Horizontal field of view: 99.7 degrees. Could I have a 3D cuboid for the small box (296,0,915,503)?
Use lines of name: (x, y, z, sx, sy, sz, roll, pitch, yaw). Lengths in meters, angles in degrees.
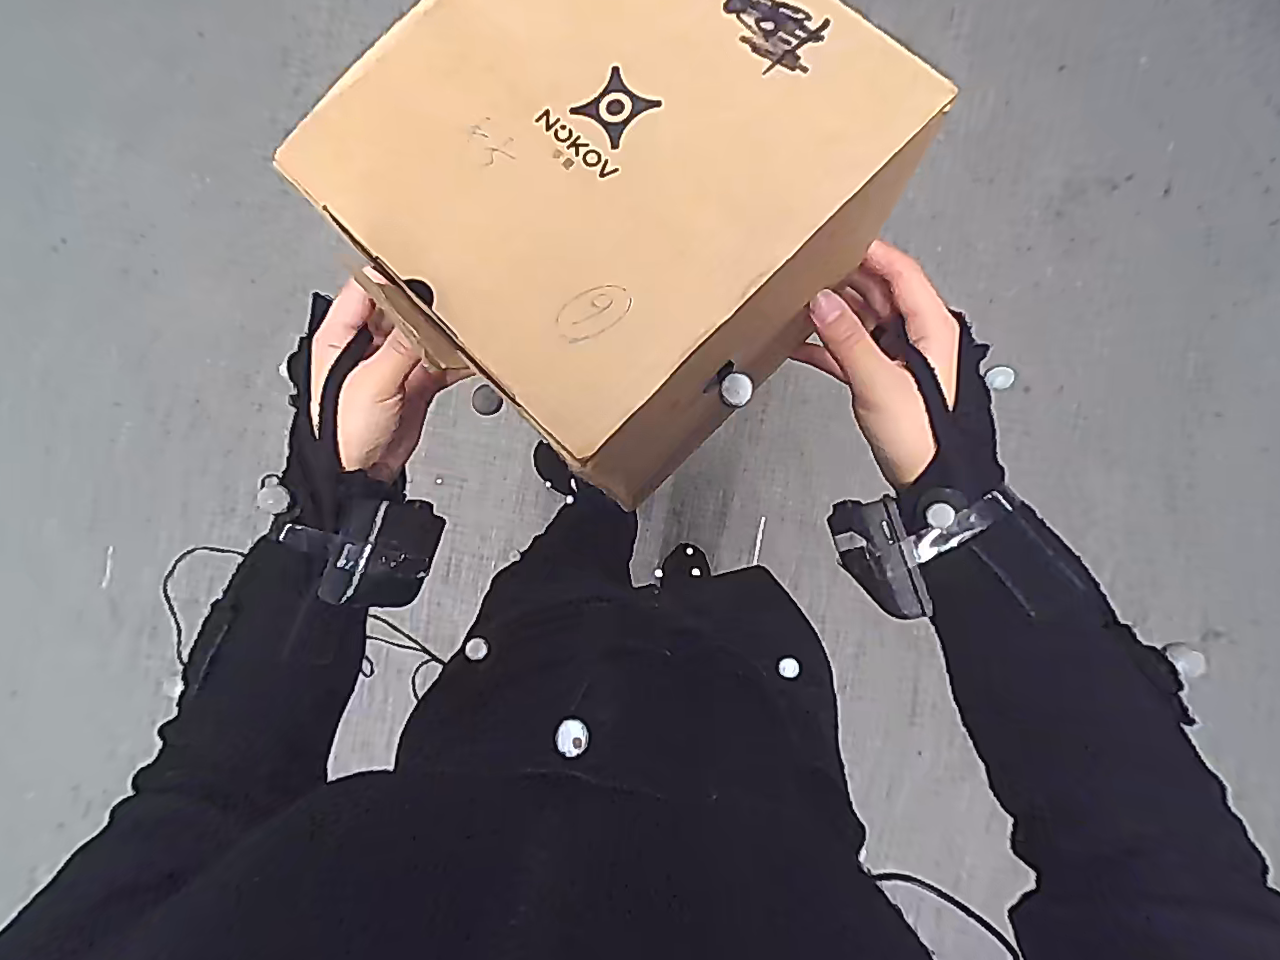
small box: (-0.011, -0.105, 0.276, 0.179, 0.176, 0.168, -45, 81, -2)
